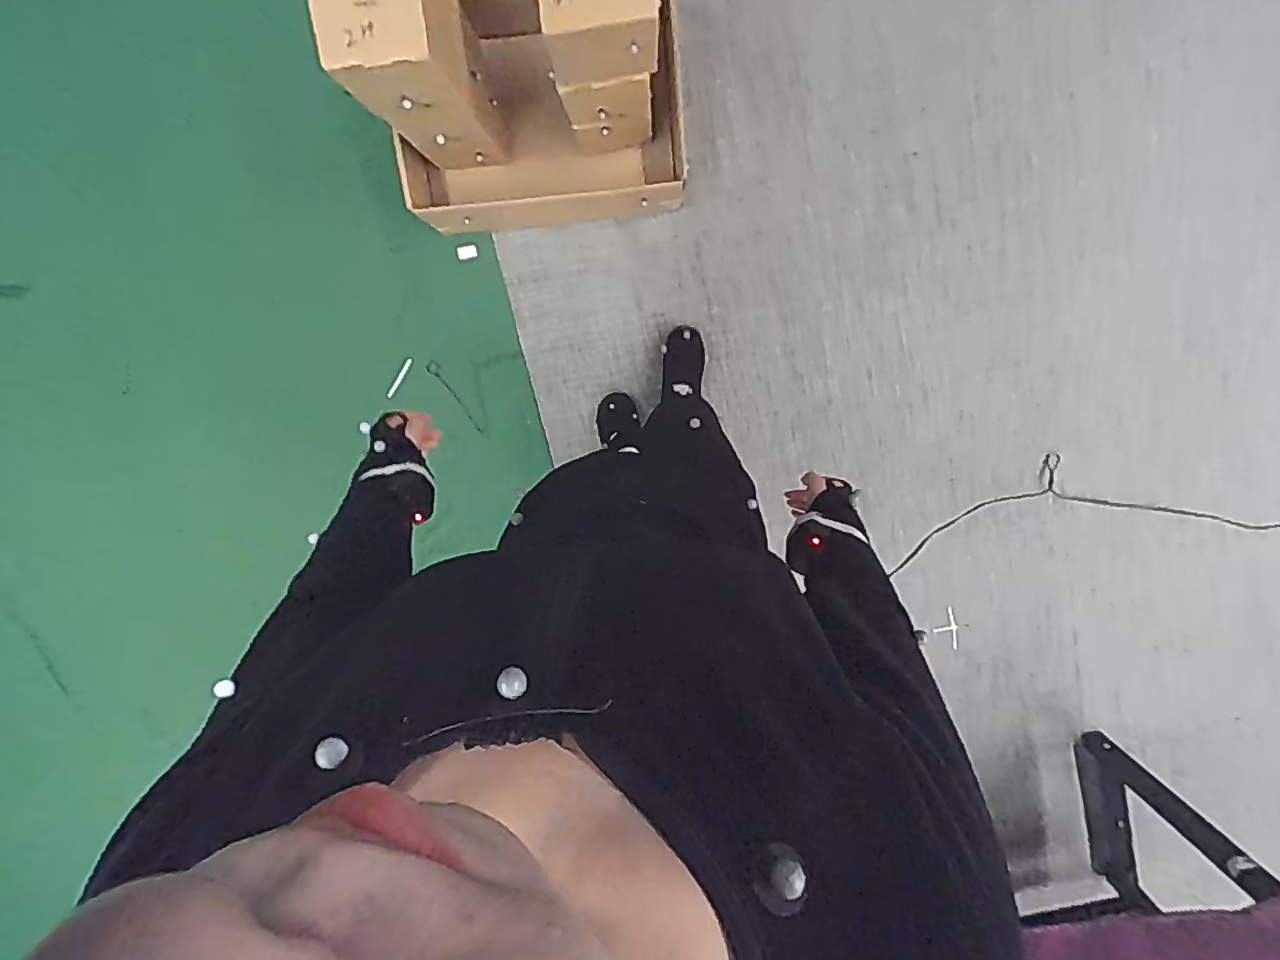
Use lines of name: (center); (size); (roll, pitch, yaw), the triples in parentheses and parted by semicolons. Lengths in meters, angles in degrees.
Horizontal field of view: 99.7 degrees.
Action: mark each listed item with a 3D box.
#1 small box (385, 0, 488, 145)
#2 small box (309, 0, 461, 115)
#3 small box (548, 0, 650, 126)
small box: (-0.395, -0.761, 1.019); (0.168, 0.176, 0.179); (-2, 105, 0)
small box: (-0.399, -0.718, 0.860); (0.168, 0.176, 0.179); (-4, 104, 1)
small box: (-0.072, -0.794, 1.004); (0.168, 0.176, 0.179); (-6, 104, 3)
